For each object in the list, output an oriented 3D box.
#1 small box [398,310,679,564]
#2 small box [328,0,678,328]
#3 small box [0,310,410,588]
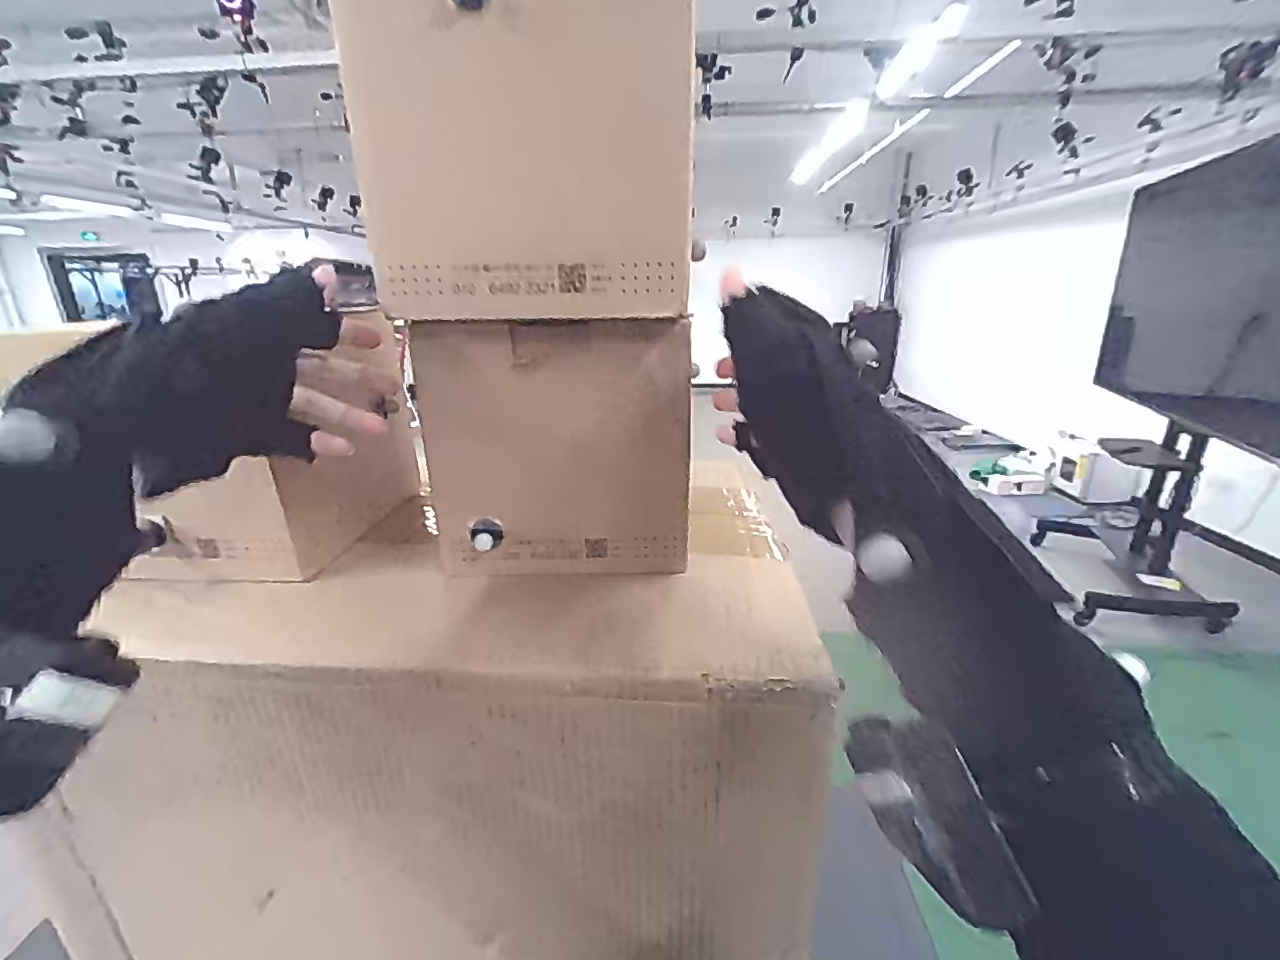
[{"bbox_3d":[-0.058,-0.044,0.416,0.168,0.176,0.179,-2,20,-1],"label":"small box"},{"bbox_3d":[-0.063,-0.190,0.340,0.168,0.176,0.179,-1,21,1],"label":"small box"},{"bbox_3d":[-0.299,-0.035,0.417,0.168,0.176,0.179,-2,22,4],"label":"small box"}]
